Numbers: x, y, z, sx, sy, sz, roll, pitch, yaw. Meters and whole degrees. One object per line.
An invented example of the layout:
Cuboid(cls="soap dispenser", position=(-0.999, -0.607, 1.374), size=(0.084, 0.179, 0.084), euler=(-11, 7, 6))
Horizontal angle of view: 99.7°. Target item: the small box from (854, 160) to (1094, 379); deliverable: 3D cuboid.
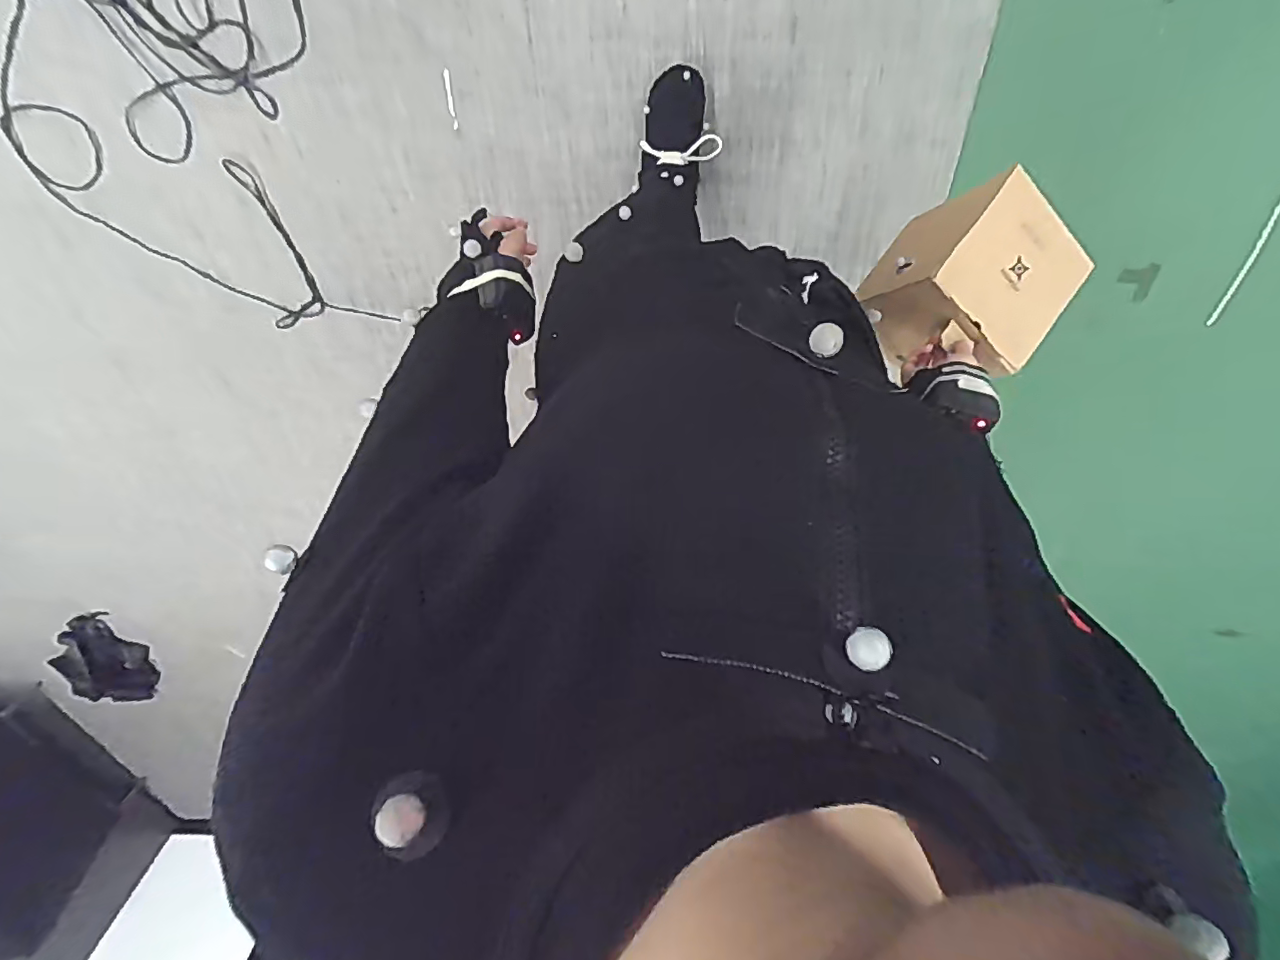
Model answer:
Cuboid(cls="small box", position=(0.408, -0.248, 0.691), size=(0.168, 0.176, 0.179), euler=(39, 83, -16))
